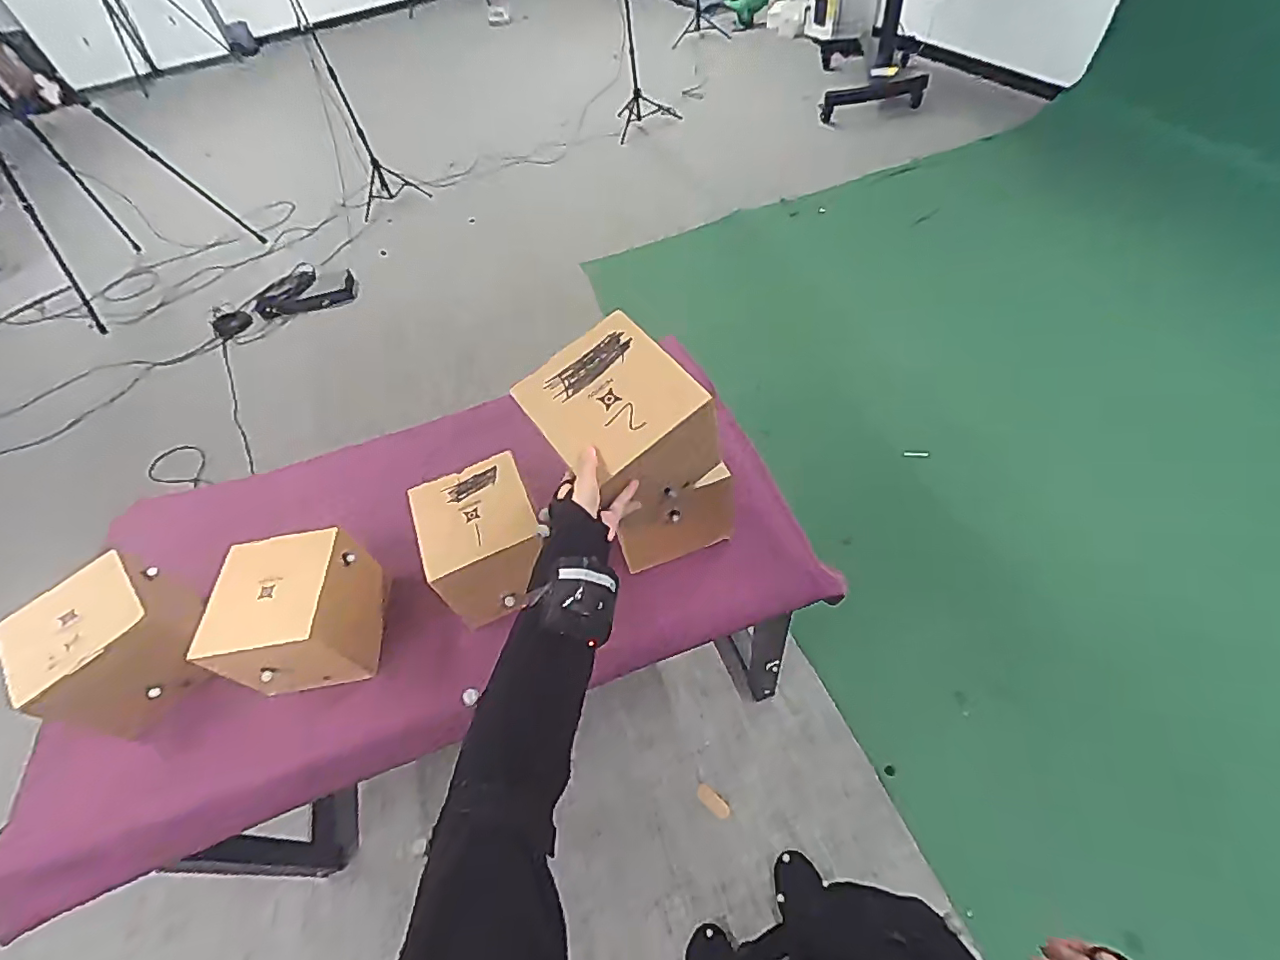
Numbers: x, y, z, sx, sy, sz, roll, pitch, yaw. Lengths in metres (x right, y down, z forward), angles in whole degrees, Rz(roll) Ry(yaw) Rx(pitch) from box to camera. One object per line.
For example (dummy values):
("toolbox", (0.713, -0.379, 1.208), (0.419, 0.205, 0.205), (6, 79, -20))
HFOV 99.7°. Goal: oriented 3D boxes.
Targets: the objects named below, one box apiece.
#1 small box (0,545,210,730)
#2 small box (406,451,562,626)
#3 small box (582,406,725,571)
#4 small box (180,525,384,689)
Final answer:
("small box", (-0.780, 0.236, 0.799), (0.179, 0.176, 0.168), (34, 64, 29))
("small box", (-0.236, 0.092, 0.834), (0.168, 0.176, 0.179), (-23, 53, -9))
("small box", (0.026, 0.018, 0.852), (0.179, 0.176, 0.168), (-18, 51, -6))
("small box", (-0.505, 0.195, 0.796), (0.168, 0.176, 0.179), (-10, 51, 1))
